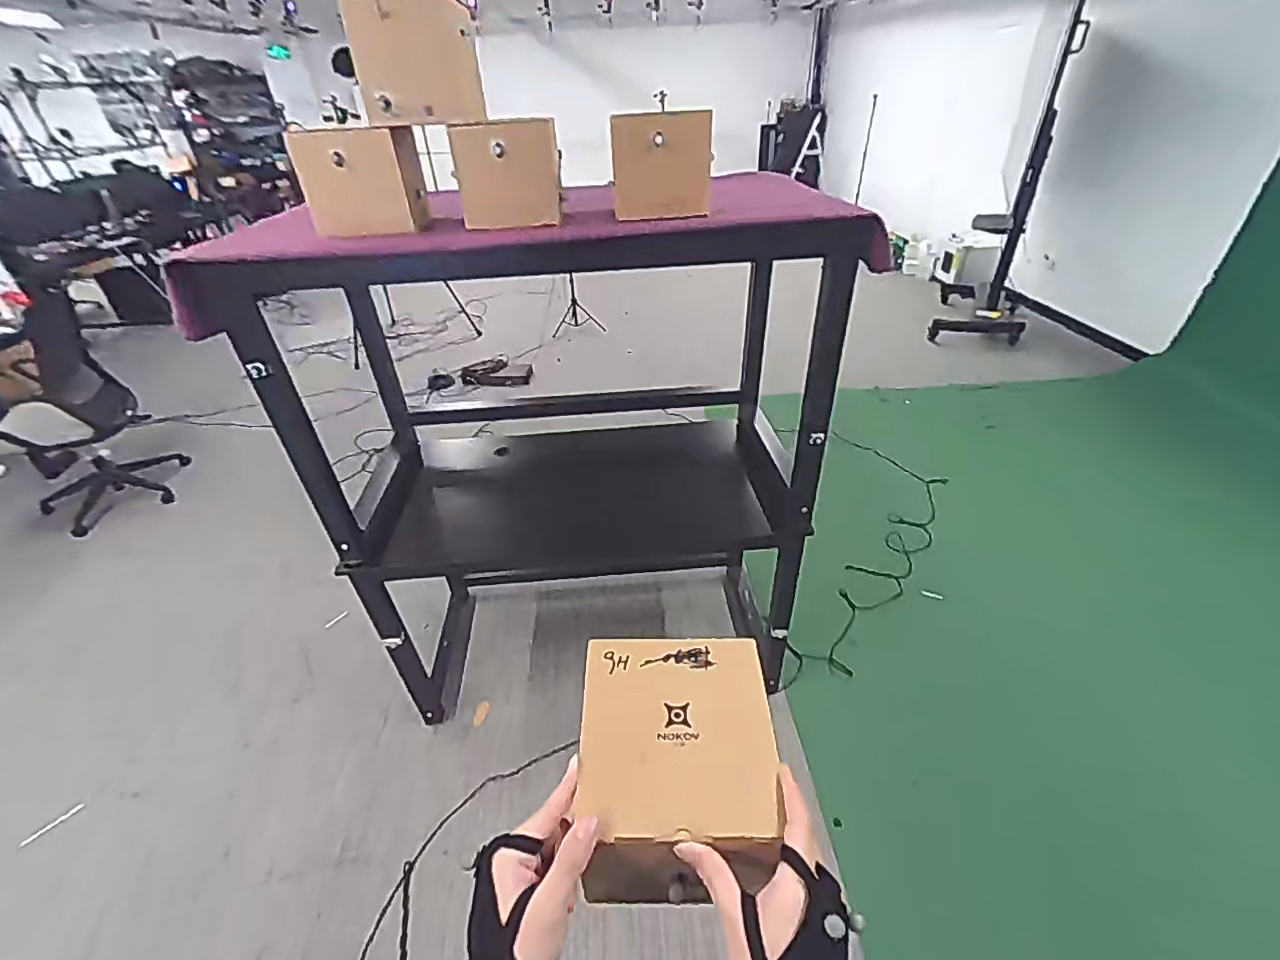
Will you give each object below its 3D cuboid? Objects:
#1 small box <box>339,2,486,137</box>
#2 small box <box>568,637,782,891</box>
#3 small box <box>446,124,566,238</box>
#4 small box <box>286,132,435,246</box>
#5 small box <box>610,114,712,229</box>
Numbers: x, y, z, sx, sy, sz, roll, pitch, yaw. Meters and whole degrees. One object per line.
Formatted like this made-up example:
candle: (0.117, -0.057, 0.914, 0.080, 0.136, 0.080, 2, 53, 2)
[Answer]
small box: (-0.373, -0.694, 0.928, 0.168, 0.176, 0.179, -3, 35, -1)
small box: (0.029, 0.273, 0.520, 0.168, 0.176, 0.179, 0, 40, 0)
small box: (-0.241, -0.562, 1.016, 0.179, 0.176, 0.168, -4, 36, -2)
small box: (-0.508, -0.547, 1.014, 0.179, 0.176, 0.168, -6, 36, -4)
small box: (0.037, -0.587, 1.028, 0.179, 0.176, 0.168, -6, 35, -1)
